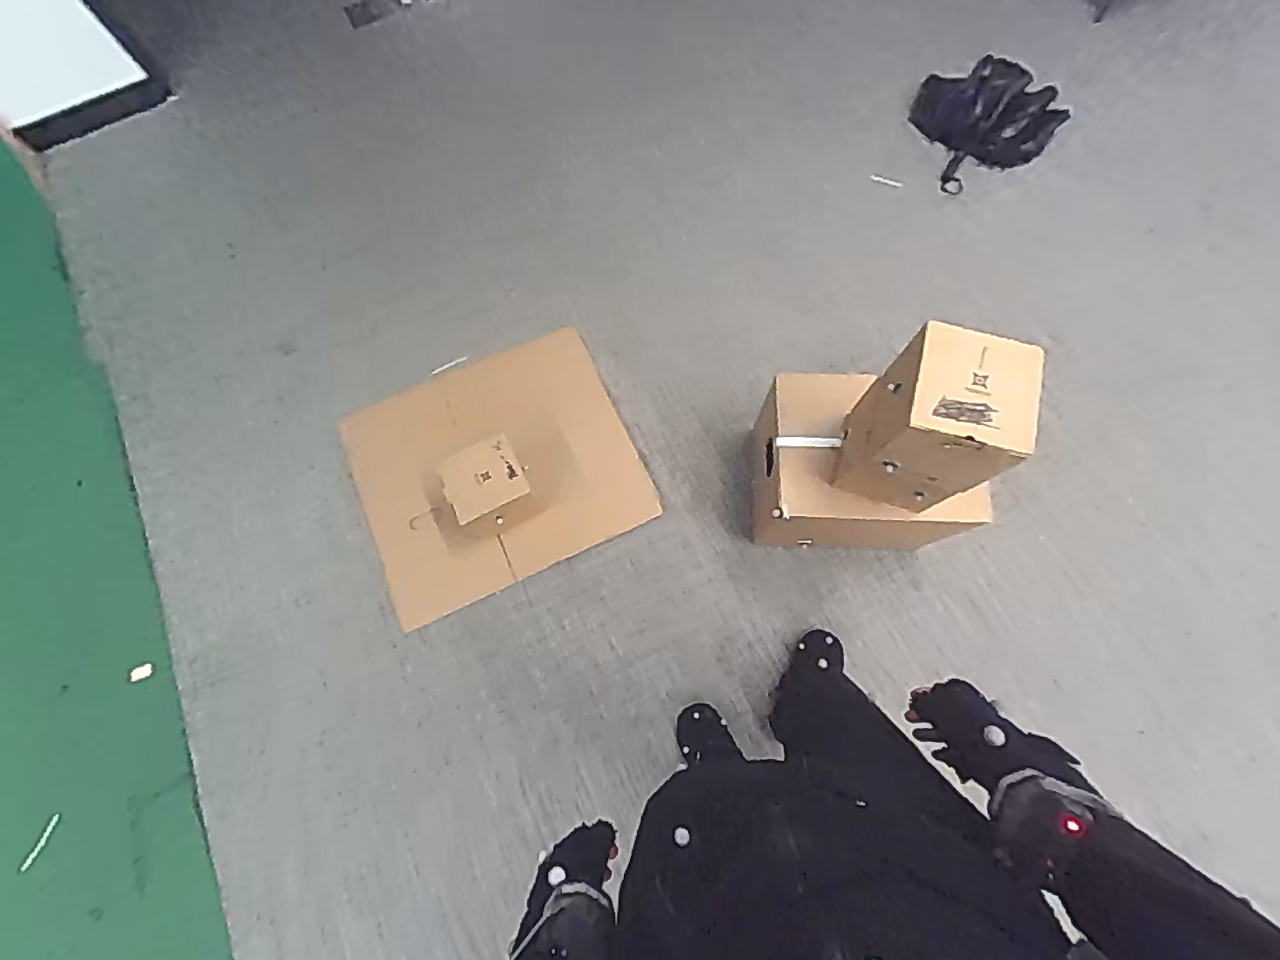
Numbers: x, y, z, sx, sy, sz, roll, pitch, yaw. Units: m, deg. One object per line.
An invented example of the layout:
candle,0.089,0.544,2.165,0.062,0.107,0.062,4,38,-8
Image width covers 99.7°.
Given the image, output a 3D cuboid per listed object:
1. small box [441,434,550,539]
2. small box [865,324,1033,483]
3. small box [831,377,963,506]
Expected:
small box,-0.342,0.024,1.311,0.179,0.176,0.168,-30,72,-5
small box,0.463,-0.108,0.834,0.168,0.176,0.179,13,74,6
small box,0.473,-0.063,0.992,0.179,0.176,0.168,16,73,8
